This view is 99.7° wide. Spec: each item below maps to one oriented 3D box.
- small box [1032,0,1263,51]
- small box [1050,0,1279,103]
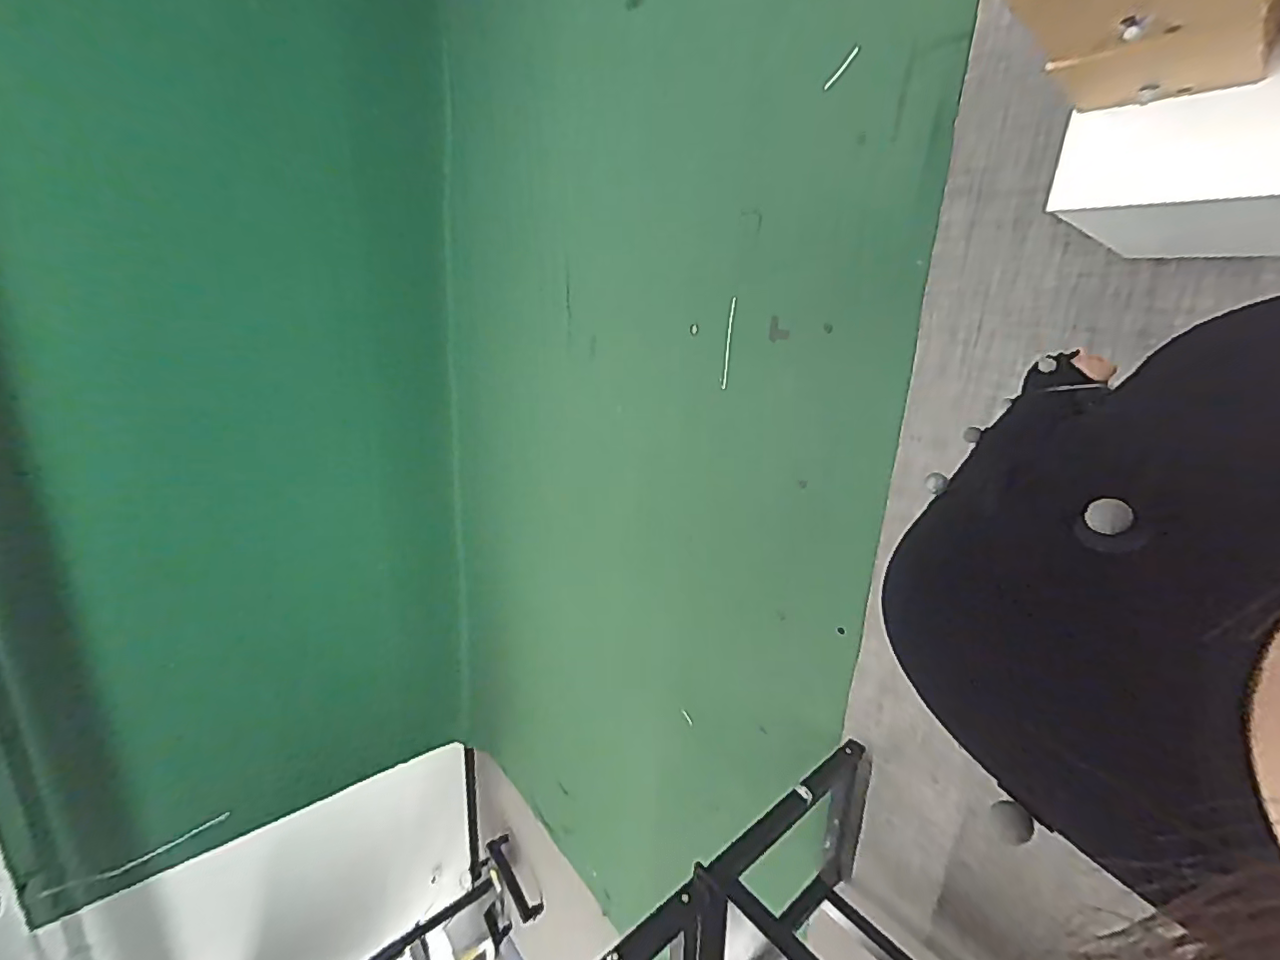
[{"bbox_3d":[0.449,-0.511,0.455,0.168,0.176,0.179,24,116,44],"label":"small box"},{"bbox_3d":[0.569,-0.532,0.564,0.168,0.176,0.179,23,116,45],"label":"small box"}]
